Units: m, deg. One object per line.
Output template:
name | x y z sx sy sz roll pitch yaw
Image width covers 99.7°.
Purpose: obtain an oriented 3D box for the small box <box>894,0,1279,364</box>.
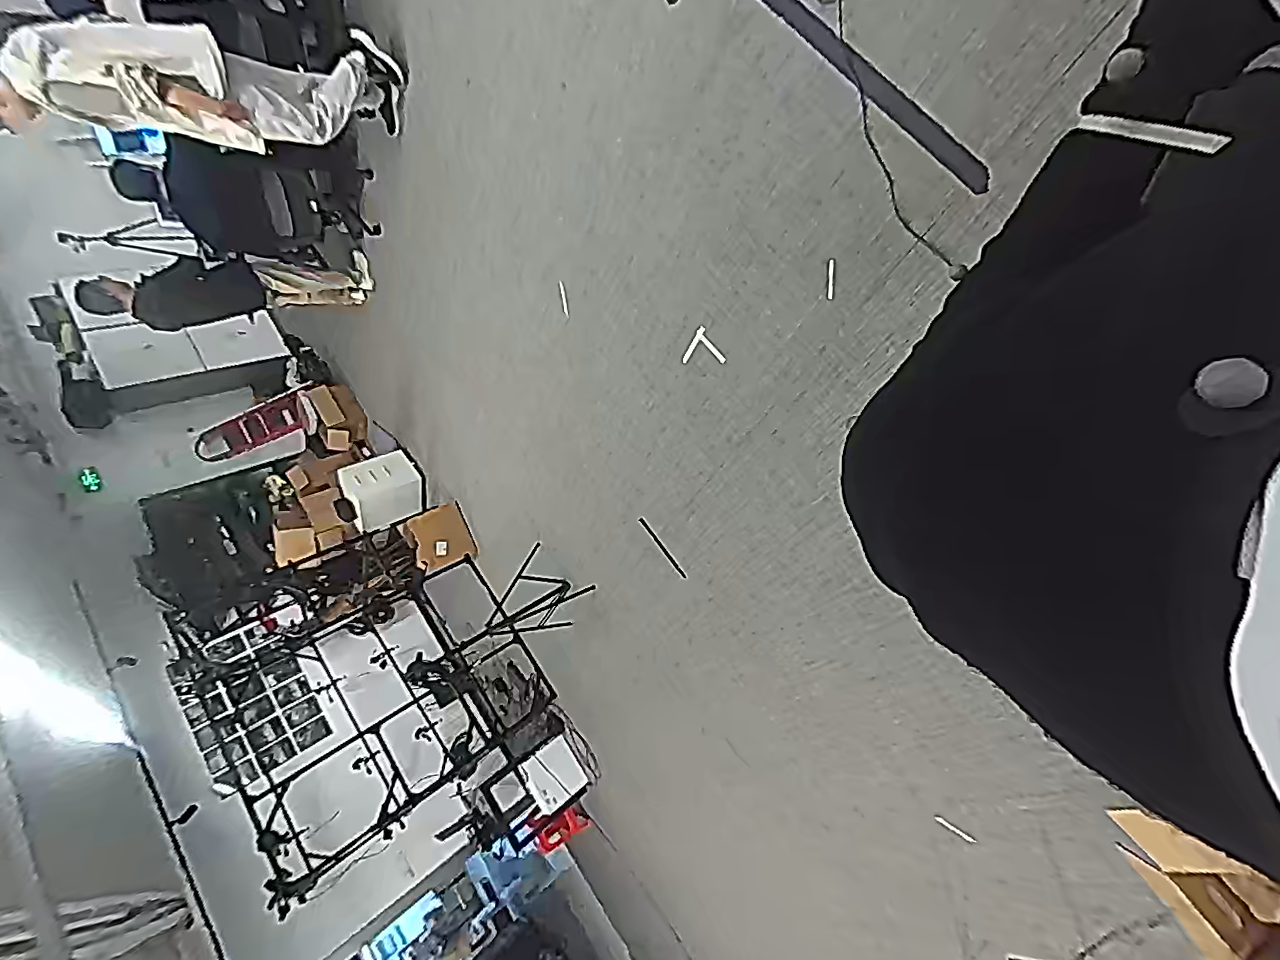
small box | 0.306 -0.206 0.375 0.179 0.168 0.176 -34 85 20
